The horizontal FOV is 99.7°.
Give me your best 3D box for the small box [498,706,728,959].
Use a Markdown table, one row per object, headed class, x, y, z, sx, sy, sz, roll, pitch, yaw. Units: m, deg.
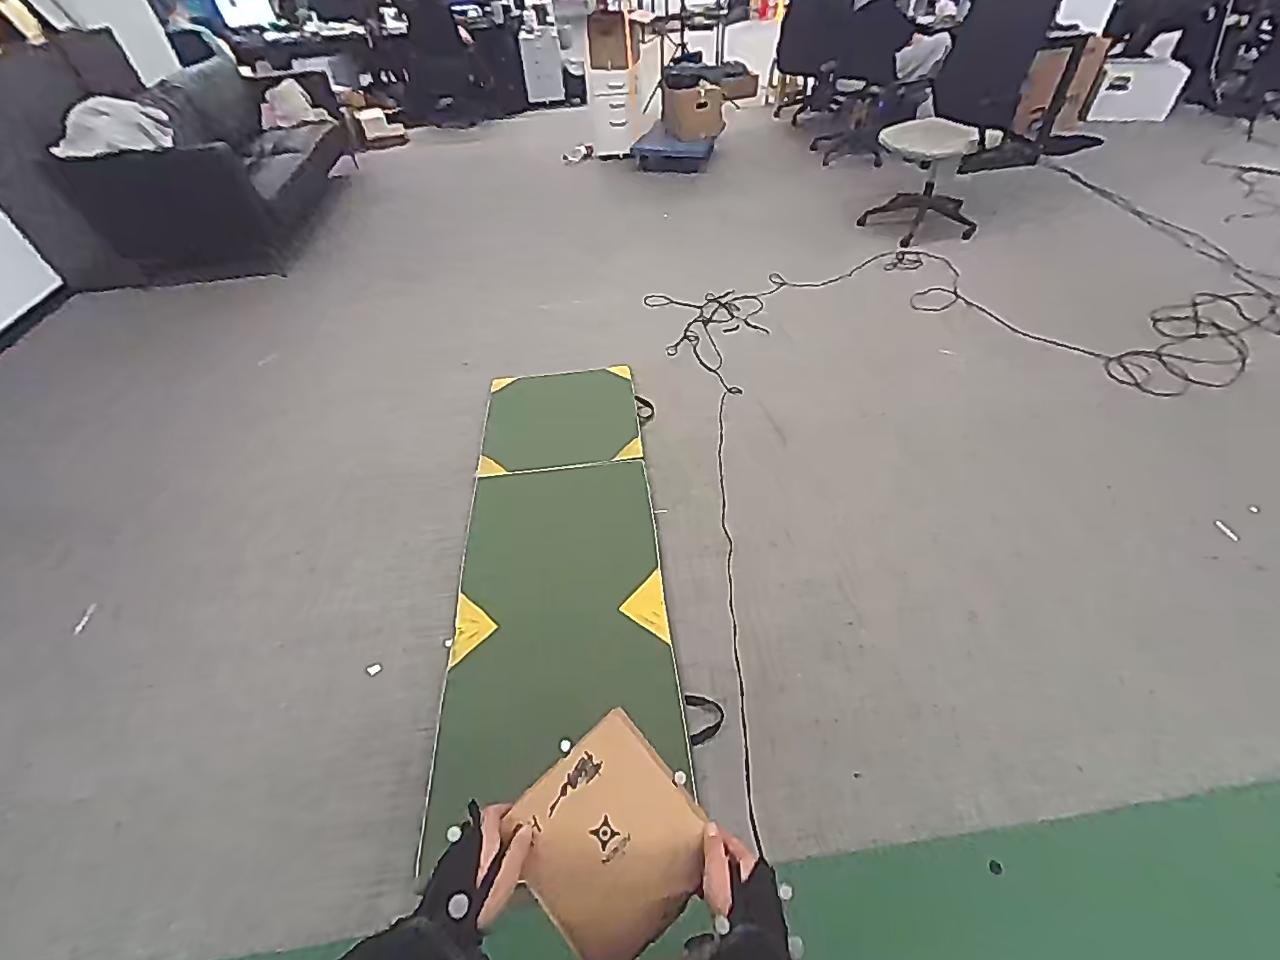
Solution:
| class | x | y | z | sx | sy | sz | roll | pitch | yaw |
| --- | --- | --- | --- | --- | --- | --- | --- | --- | --- |
| small box | -0.028 | 0.378 | 0.613 | 0.168 | 0.176 | 0.179 | -39 | 75 | -15 |
